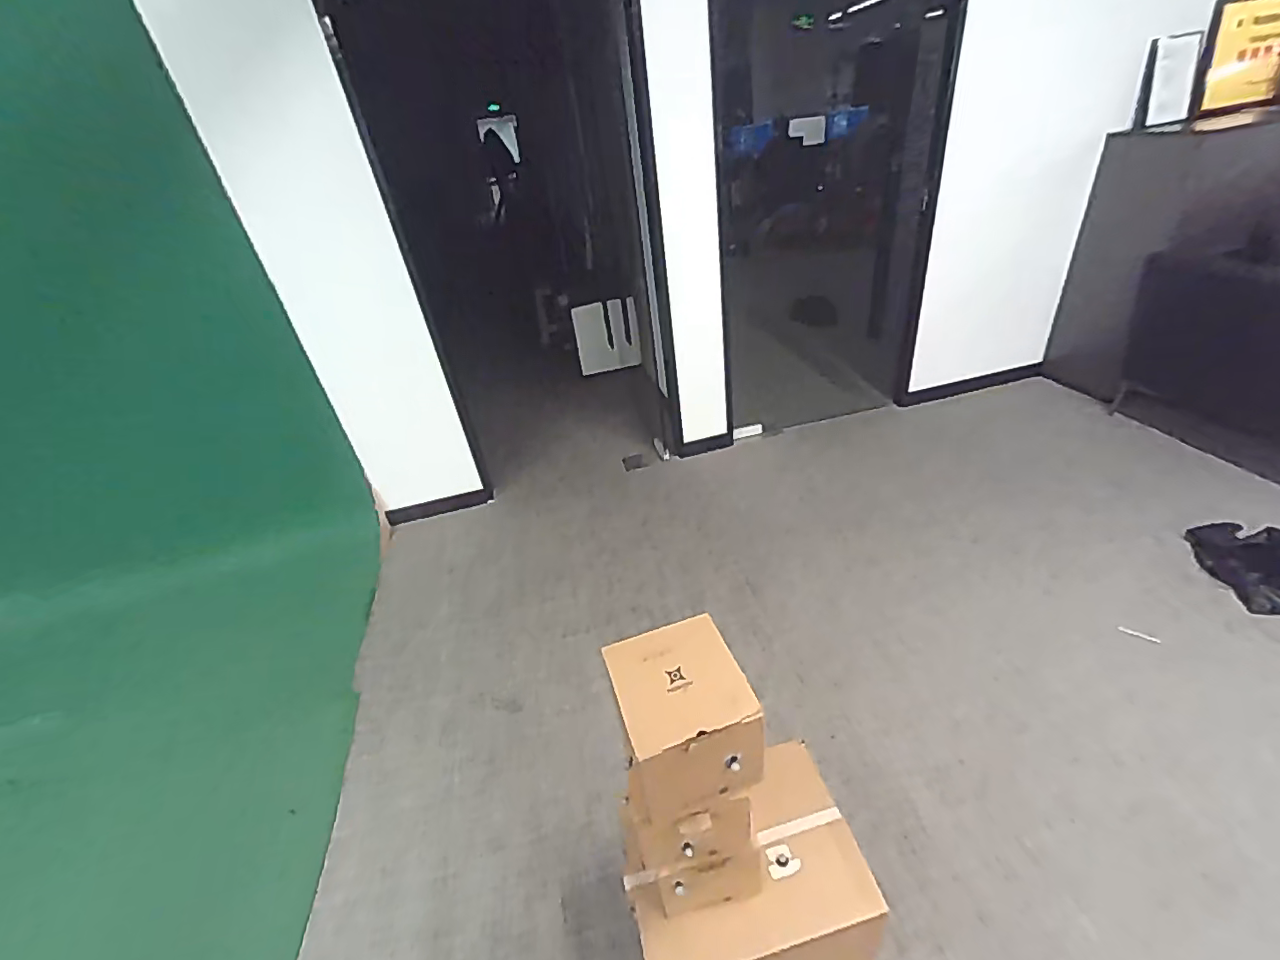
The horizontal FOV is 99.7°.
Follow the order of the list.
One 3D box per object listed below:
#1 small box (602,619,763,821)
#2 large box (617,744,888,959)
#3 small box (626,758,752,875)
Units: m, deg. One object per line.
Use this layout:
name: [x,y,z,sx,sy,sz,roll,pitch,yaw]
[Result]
small box: [0.057,0.330,0.741,0.168,0.176,0.179,-14,33,-11]
large box: [0.194,0.792,1.050,0.408,0.320,0.320,-12,34,-8]
small box: [0.068,0.463,0.833,0.168,0.176,0.179,-10,33,-2]
